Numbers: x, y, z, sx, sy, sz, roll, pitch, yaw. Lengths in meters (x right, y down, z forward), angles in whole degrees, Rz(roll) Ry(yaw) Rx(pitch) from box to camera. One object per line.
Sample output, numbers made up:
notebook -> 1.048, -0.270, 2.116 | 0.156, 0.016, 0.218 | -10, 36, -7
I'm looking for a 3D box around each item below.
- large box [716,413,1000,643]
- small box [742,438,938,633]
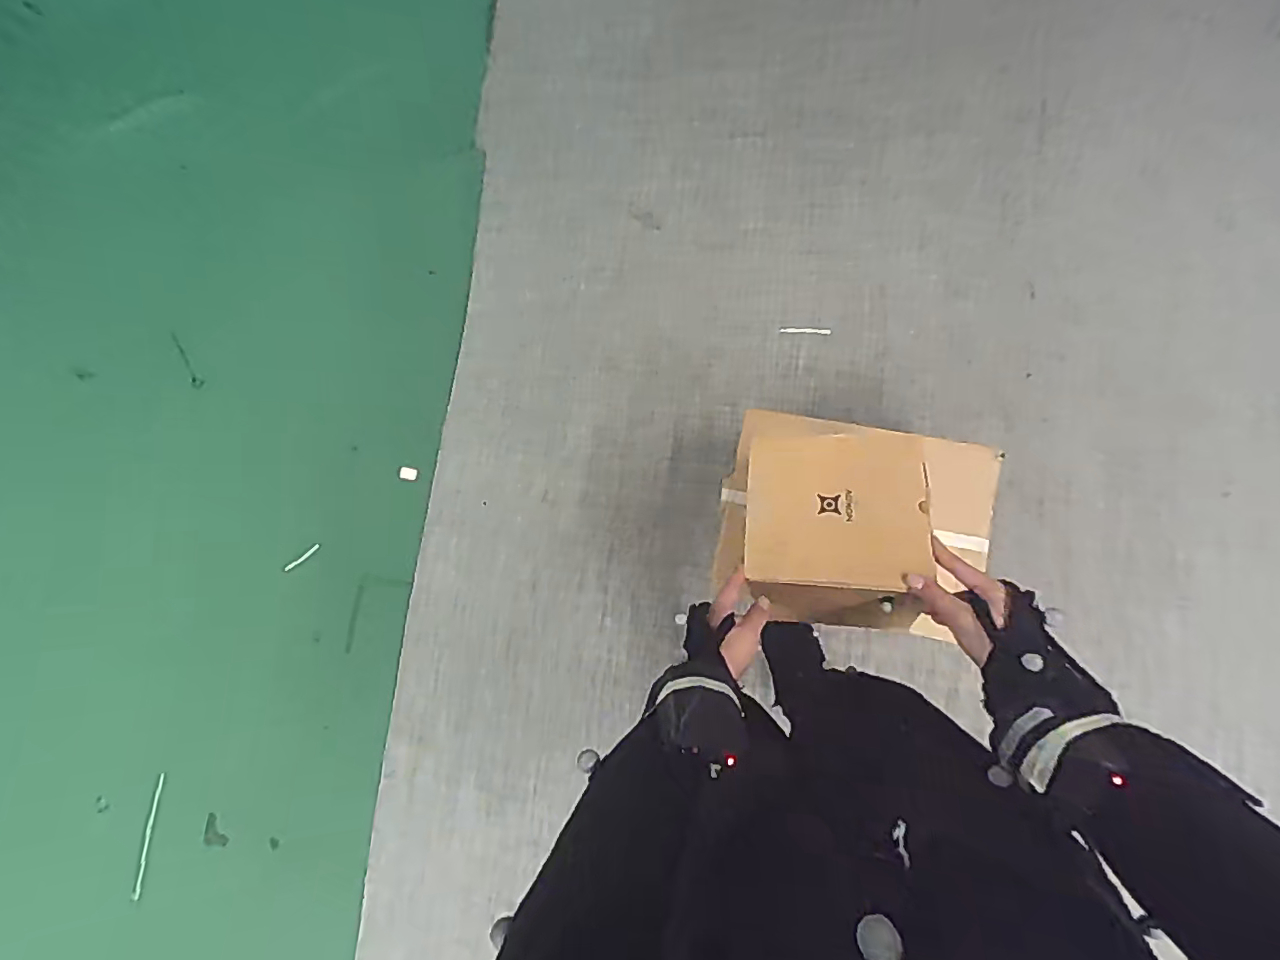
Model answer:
large box -> 0.372, 0.086, 1.020 | 0.408, 0.320, 0.320 | 12, 85, 12
small box -> 0.215, 0.067, 0.607 | 0.179, 0.176, 0.168 | 0, 62, 16
